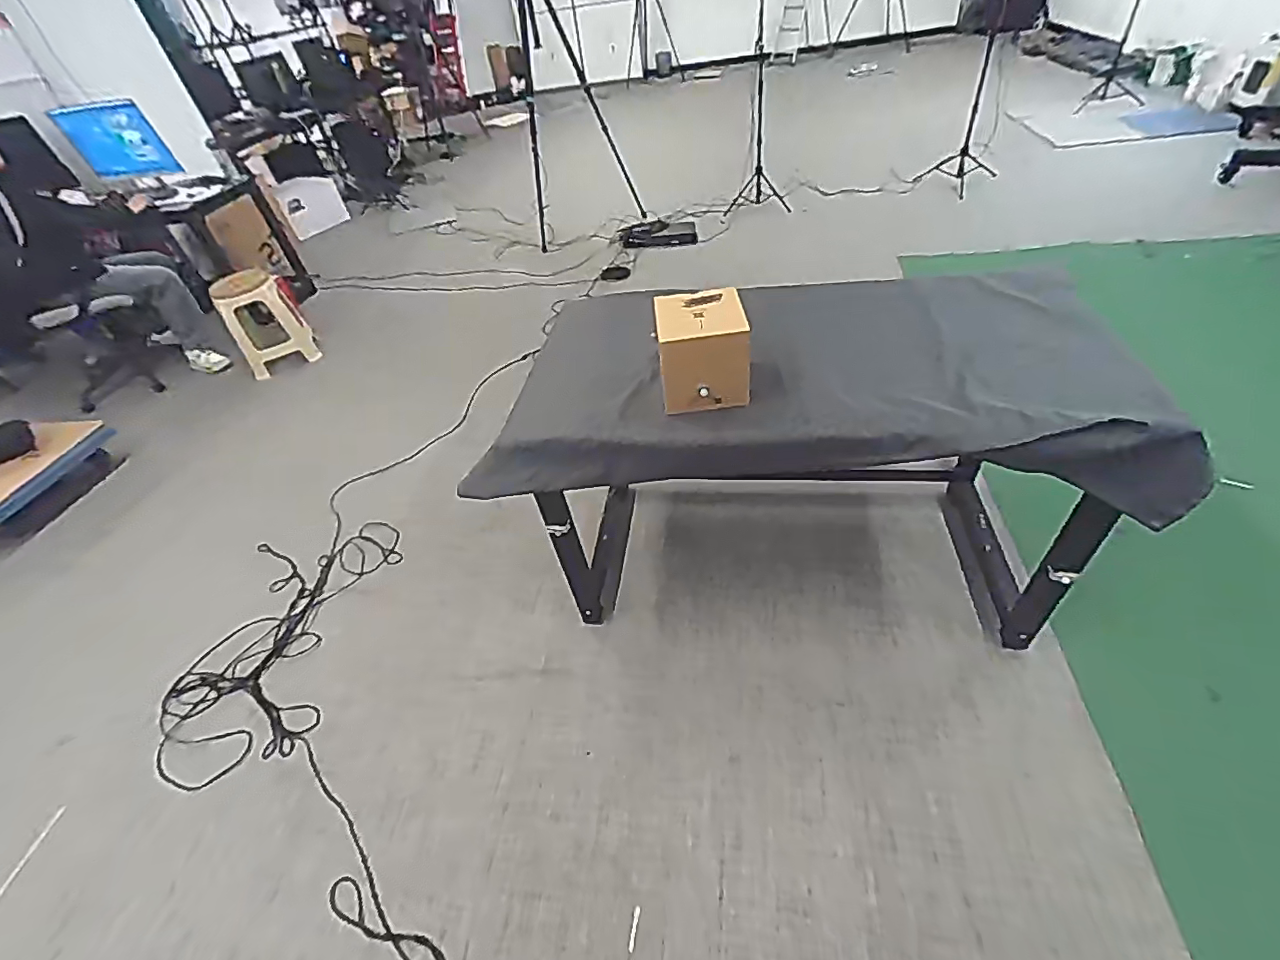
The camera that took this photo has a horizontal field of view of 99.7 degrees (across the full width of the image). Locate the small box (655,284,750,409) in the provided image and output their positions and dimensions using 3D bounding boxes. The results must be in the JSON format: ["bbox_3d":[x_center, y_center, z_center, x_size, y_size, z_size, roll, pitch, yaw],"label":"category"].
[{"bbox_3d":[0.120,-0.263,1.072,0.168,0.176,0.179,-7,45,4],"label":"small box"}]
